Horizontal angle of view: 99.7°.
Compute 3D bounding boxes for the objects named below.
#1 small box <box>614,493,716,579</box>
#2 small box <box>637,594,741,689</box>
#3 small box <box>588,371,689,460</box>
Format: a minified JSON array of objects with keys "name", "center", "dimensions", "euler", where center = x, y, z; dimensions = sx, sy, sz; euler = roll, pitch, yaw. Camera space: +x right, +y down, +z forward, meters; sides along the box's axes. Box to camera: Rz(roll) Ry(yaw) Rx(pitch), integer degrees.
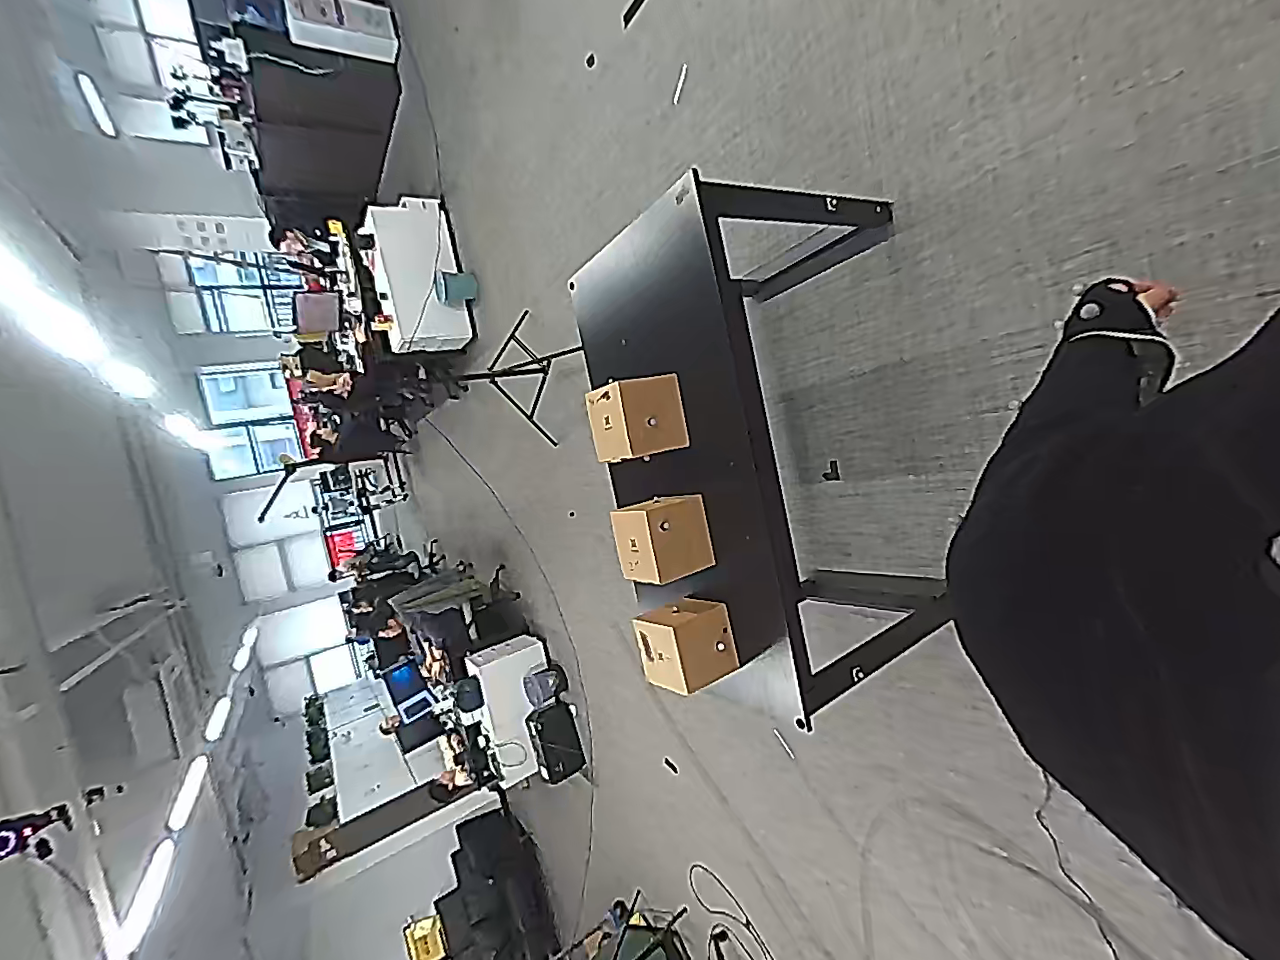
[{"name":"small box","center":[0.062,0.130,1.326],"dimensions":[0.168,0.176,0.179],"euler":[-8,95,58]},{"name":"small box","center":[0.121,0.390,1.340],"dimensions":[0.179,0.176,0.168],"euler":[-11,93,57]},{"name":"small box","center":[-0.001,-0.156,1.311],"dimensions":[0.168,0.176,0.179],"euler":[-4,99,58]}]
